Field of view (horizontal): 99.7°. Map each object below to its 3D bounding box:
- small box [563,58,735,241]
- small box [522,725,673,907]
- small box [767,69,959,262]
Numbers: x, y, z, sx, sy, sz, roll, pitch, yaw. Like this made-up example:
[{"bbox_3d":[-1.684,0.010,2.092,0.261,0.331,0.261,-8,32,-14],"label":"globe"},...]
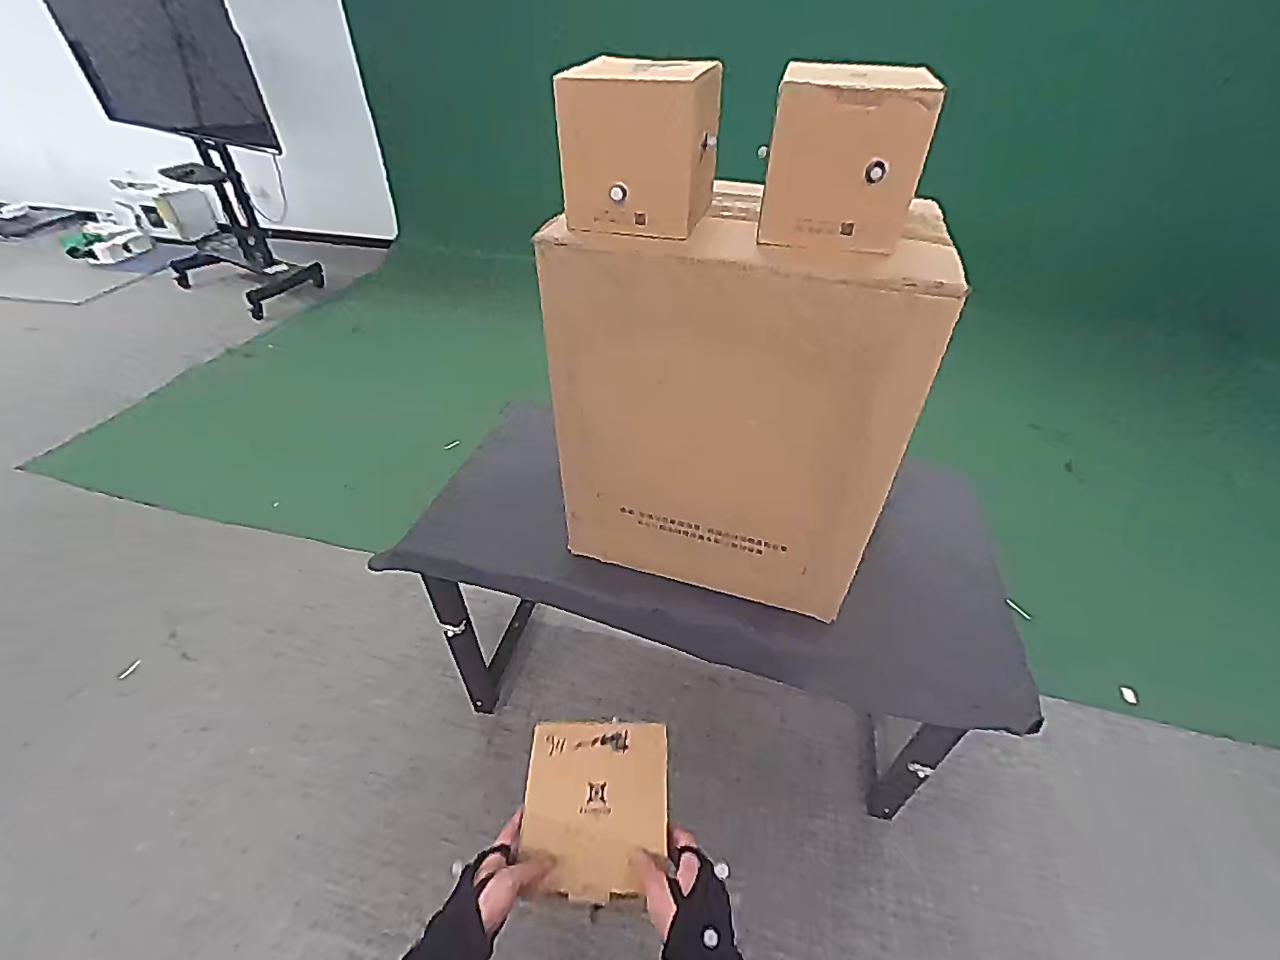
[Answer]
[{"bbox_3d":[0.016,-0.429,0.698,0.168,0.176,0.179,13,44,14],"label":"small box"},{"bbox_3d":[-0.043,0.431,0.690,0.168,0.176,0.179,-2,48,1],"label":"small box"},{"bbox_3d":[0.256,-0.385,0.664,0.168,0.176,0.179,11,43,7],"label":"small box"}]
